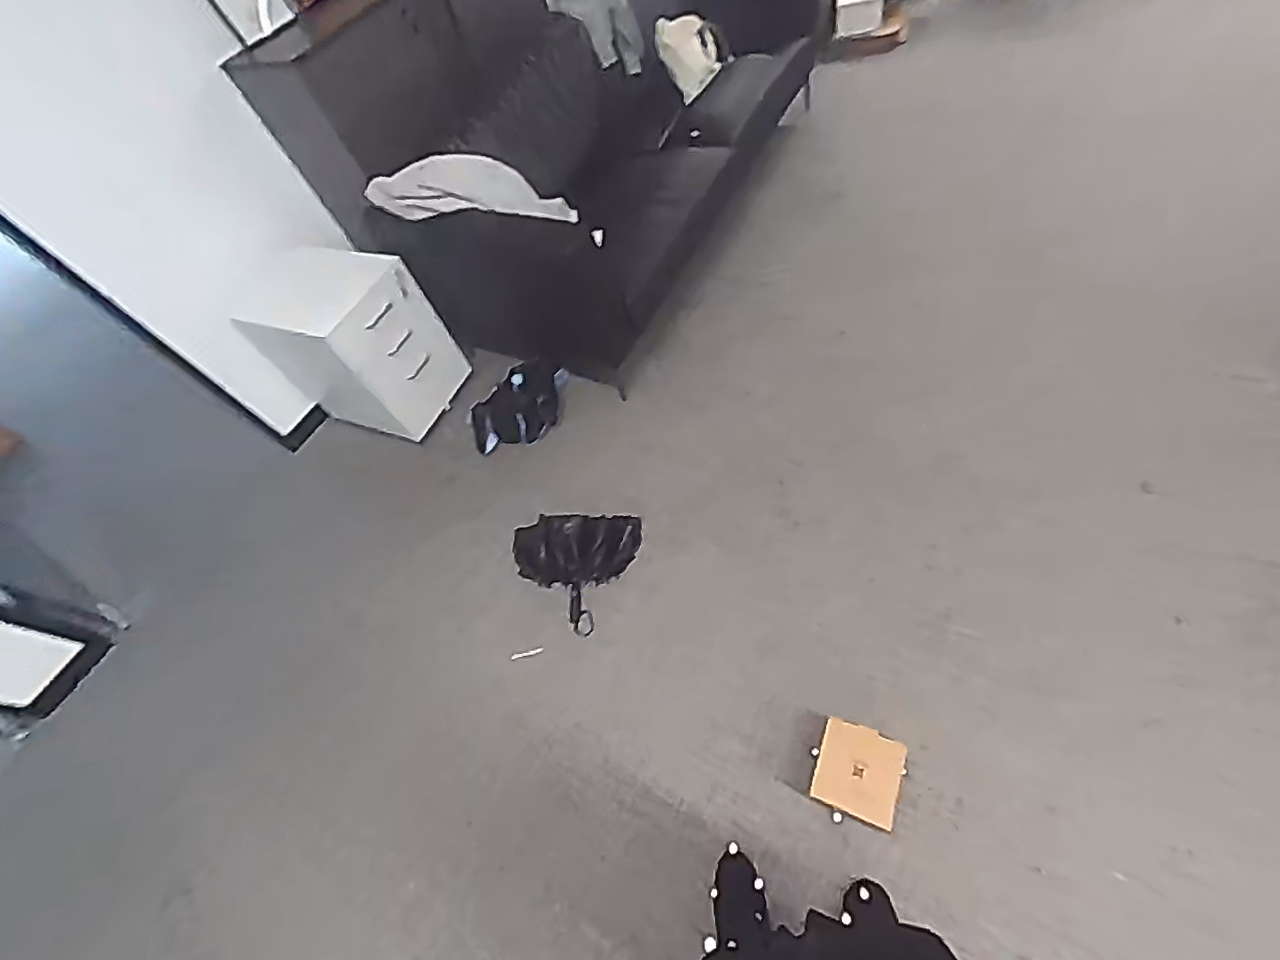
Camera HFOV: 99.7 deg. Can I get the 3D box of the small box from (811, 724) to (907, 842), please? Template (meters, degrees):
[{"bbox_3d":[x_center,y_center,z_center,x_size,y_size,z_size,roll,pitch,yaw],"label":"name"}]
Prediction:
[{"bbox_3d":[0.486,0.683,1.219,0.168,0.176,0.179,14,63,24],"label":"small box"}]
